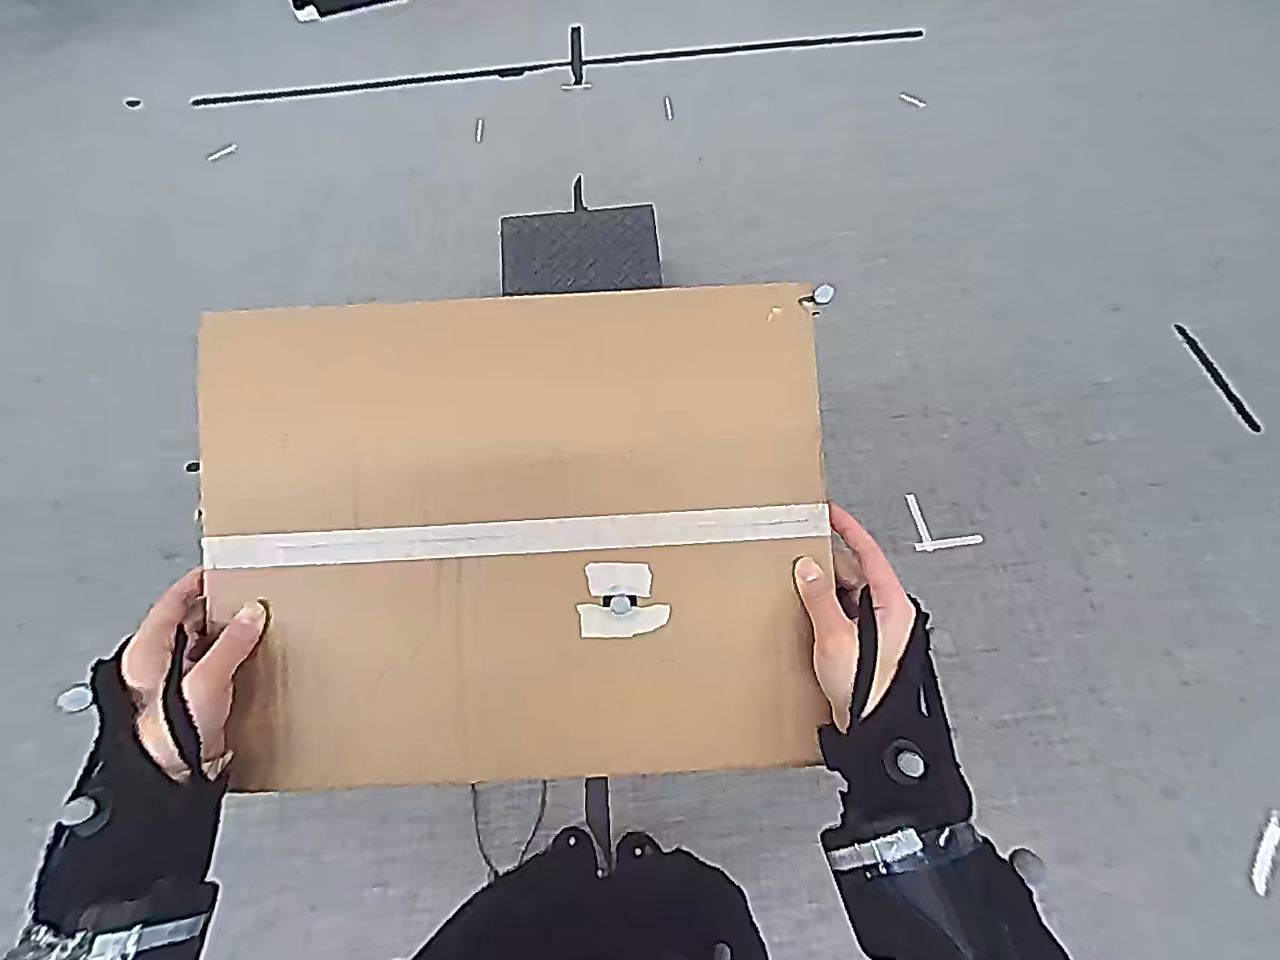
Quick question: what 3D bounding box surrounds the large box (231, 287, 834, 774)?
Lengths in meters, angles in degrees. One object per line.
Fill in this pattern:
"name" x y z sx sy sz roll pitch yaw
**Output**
"large box" -0.077 0.038 0.514 0.408 0.320 0.320 -3 89 0
